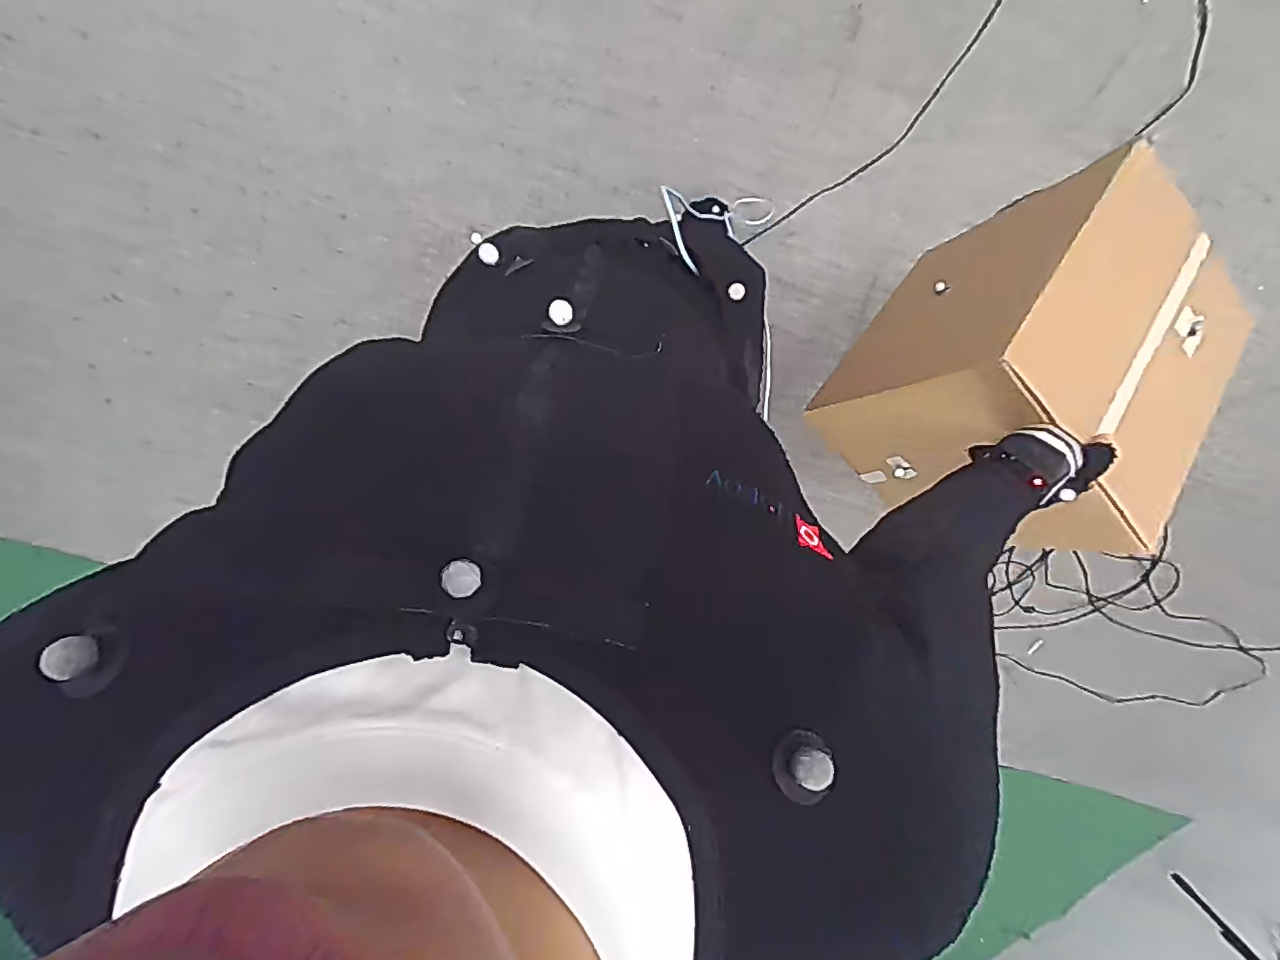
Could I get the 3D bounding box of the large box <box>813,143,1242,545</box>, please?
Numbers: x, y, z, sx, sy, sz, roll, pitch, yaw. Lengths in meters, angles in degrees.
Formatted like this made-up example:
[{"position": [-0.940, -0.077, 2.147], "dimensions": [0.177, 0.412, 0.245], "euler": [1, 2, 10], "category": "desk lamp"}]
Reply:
[{"position": [0.535, -0.158, 0.780], "dimensions": [0.320, 0.320, 0.408], "euler": [44, 73, -14], "category": "large box"}]
